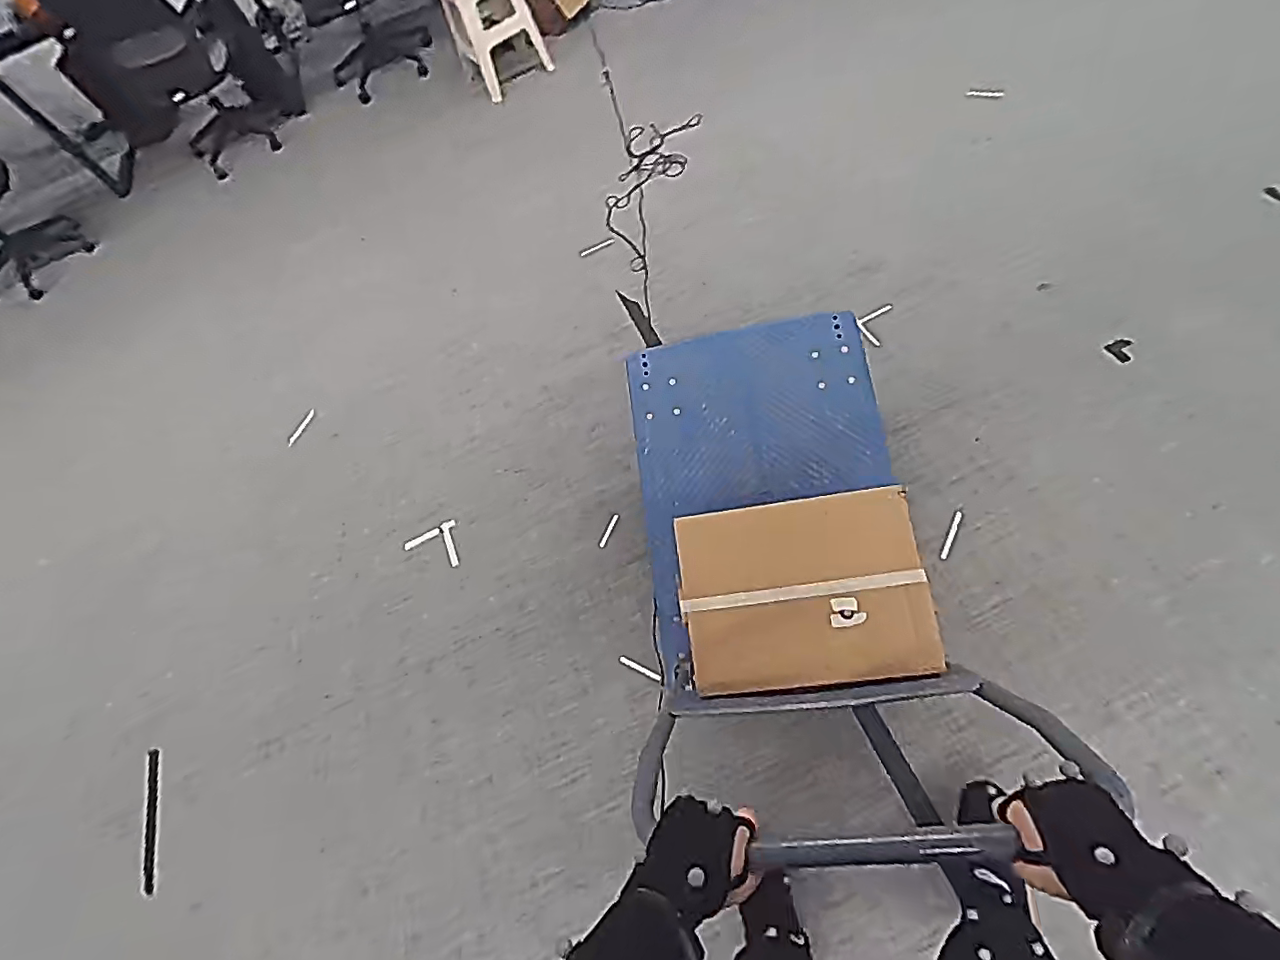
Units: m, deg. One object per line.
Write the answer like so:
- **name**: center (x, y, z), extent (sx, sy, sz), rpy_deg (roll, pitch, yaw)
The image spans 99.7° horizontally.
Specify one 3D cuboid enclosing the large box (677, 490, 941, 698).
- **large box**: center (0.306, 0.230, 1.090), extent (0.408, 0.320, 0.320), rpy_deg (-9, 77, 8)
